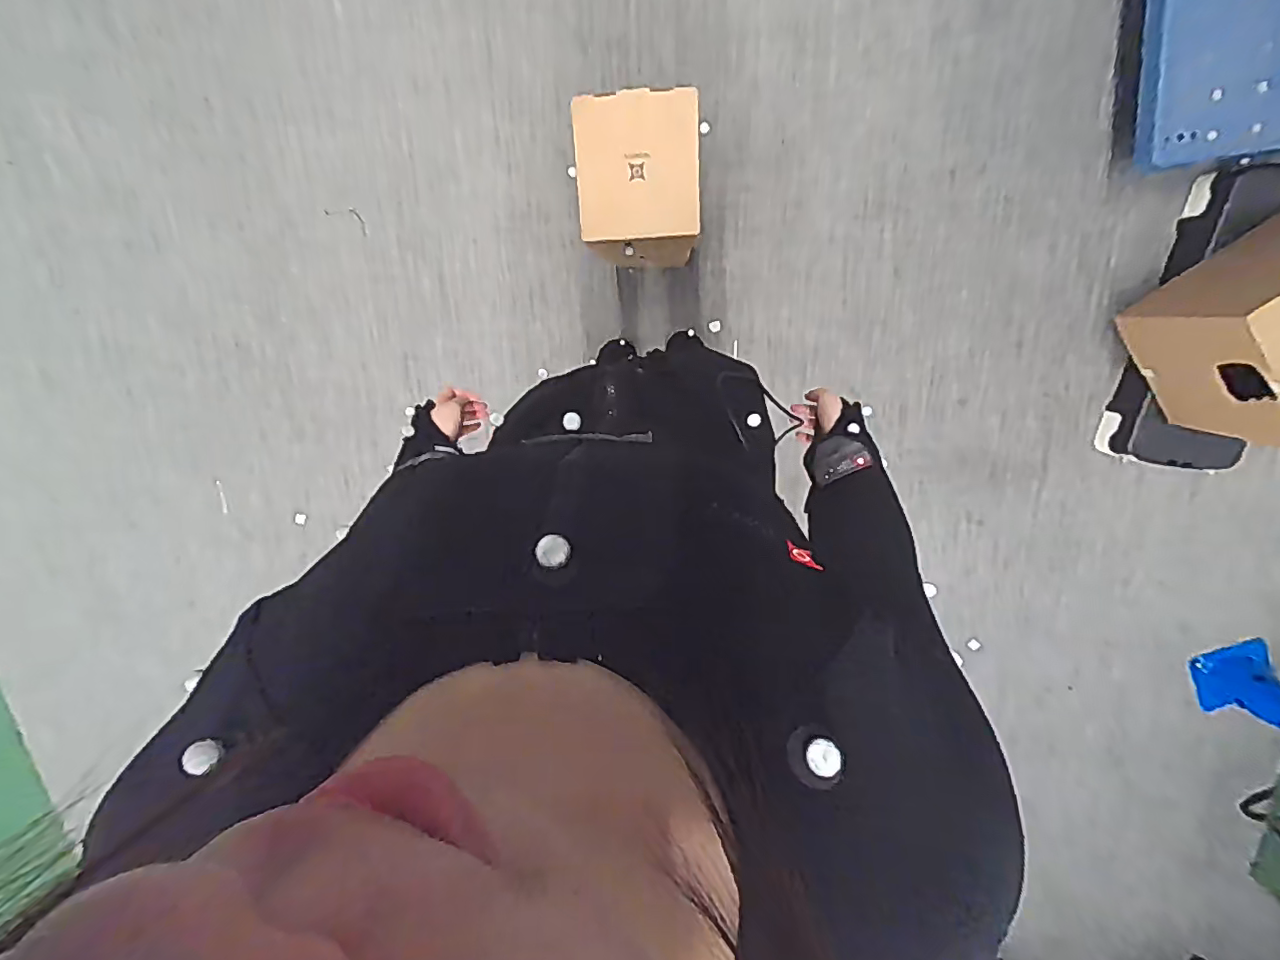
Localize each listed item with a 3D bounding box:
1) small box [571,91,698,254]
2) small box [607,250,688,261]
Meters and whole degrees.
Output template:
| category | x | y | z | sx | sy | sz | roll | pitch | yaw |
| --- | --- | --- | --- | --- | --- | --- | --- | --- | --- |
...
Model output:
| category | x | y | z | sx | sy | sz | roll | pitch | yaw |
| --- | --- | --- | --- | --- | --- | --- | --- | --- | --- |
| small box | 0.001 | -0.430 | 0.787 | 0.168 | 0.176 | 0.179 | -1 | 107 | 4 |
| small box | 0.014 | -0.539 | 1.096 | 0.179 | 0.176 | 0.168 | 1 | 108 | 3 |
